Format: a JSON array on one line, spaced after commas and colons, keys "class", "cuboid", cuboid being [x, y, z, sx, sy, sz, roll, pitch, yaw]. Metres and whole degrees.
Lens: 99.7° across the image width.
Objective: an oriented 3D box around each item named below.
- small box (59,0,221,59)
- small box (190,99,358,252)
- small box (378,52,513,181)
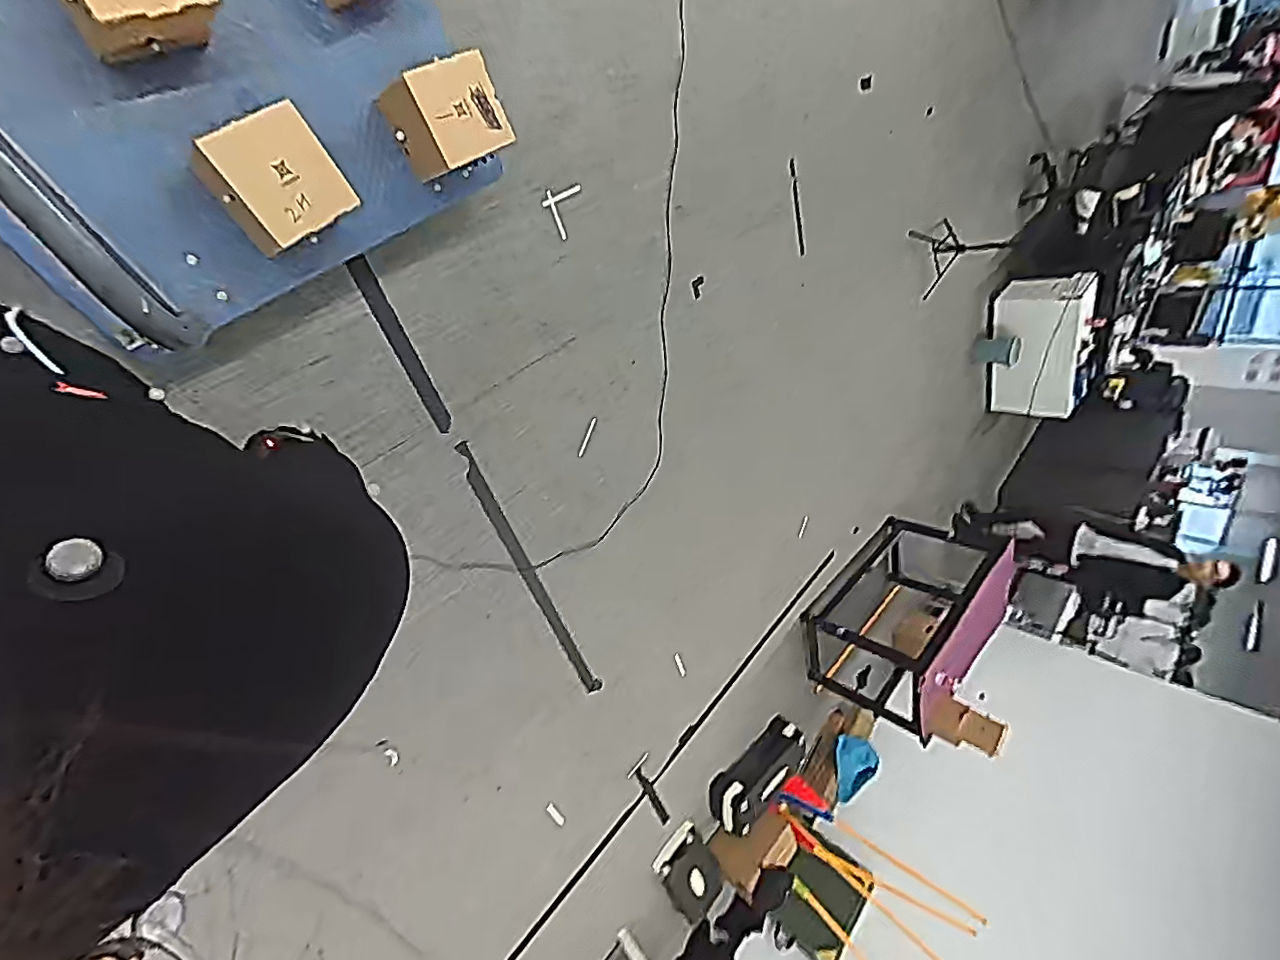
[{"class": "small box", "cuboid": [-0.762, -0.753, 0.780, 0.168, 0.176, 0.179, -42, 129, -27]}, {"class": "small box", "cuboid": [-0.648, -0.527, 0.957, 0.168, 0.176, 0.179, -47, 130, -23]}, {"class": "small box", "cuboid": [-0.404, -0.746, 1.121, 0.179, 0.176, 0.168, -42, 128, -25]}]
